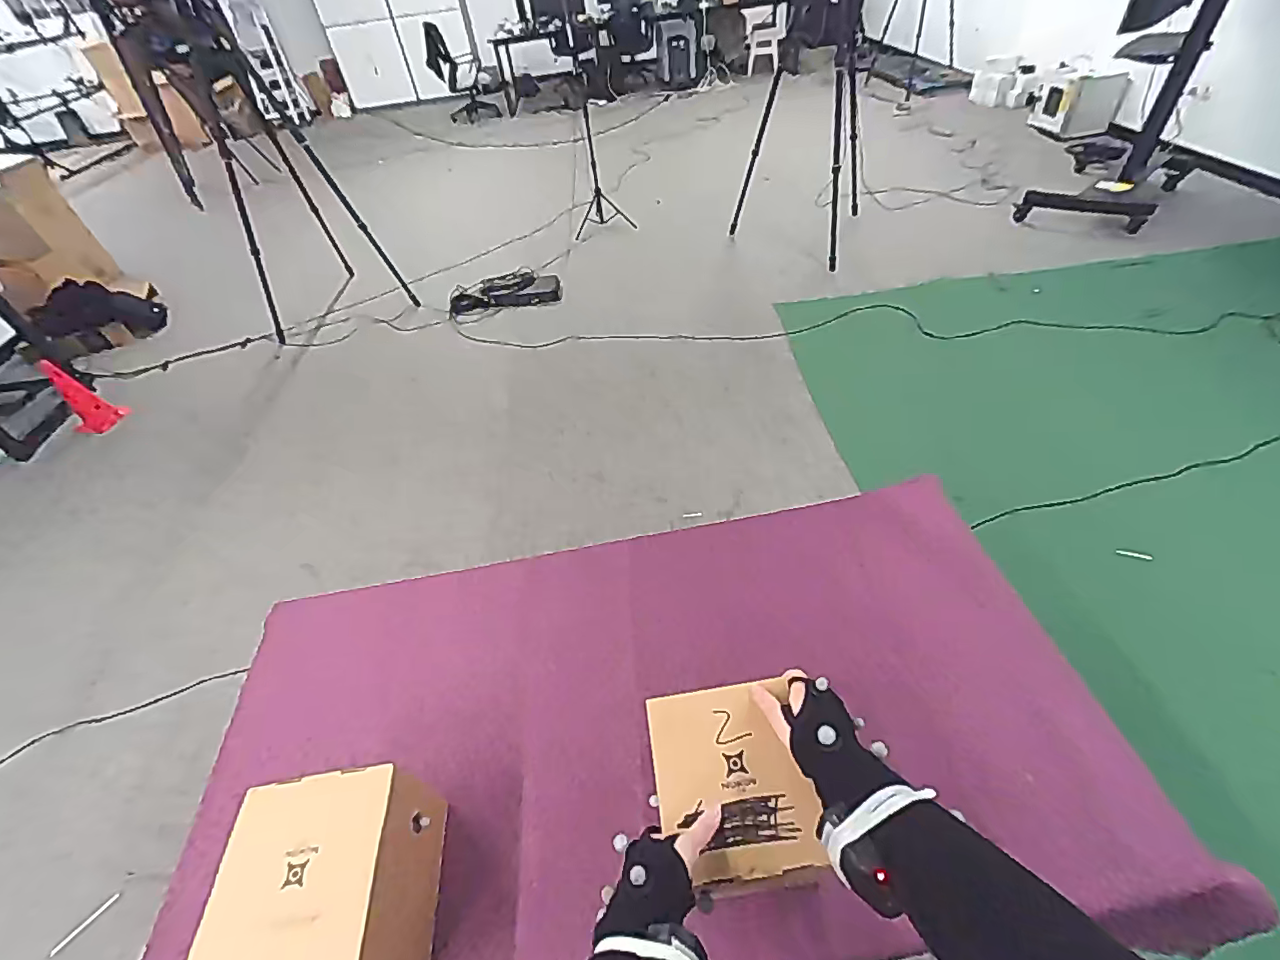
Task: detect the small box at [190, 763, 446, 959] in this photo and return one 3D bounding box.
[{"bbox_3d":[-0.329,0.442,0.596,0.168,0.176,0.179,-10,46,0],"label":"small box"}]
